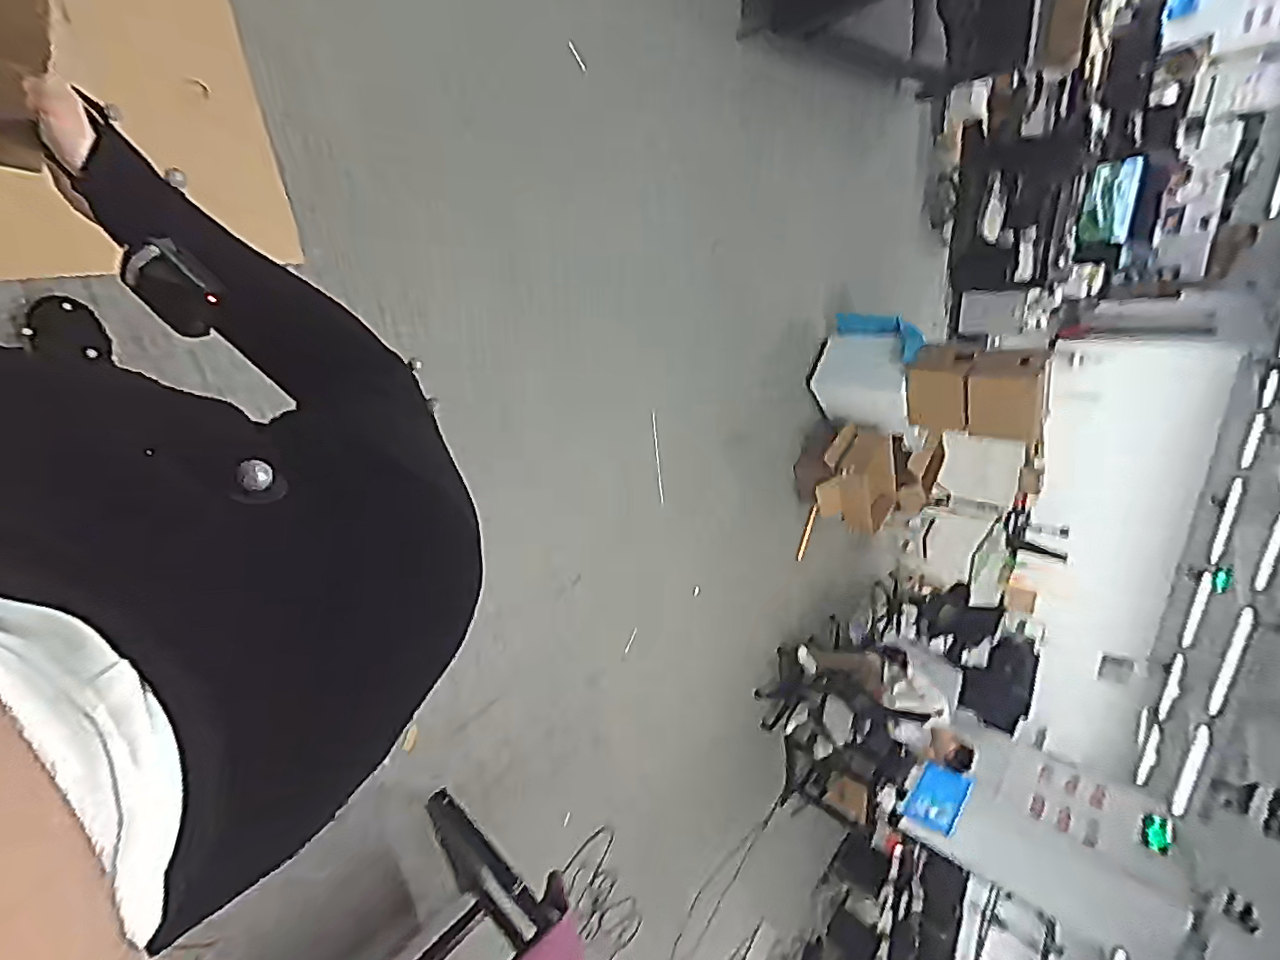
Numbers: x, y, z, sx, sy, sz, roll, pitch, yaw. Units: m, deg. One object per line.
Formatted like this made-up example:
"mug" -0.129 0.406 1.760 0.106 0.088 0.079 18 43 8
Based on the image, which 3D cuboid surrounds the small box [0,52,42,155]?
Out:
"small box" -0.607 -0.381 0.421 0.179 0.176 0.168 -9 106 -47
